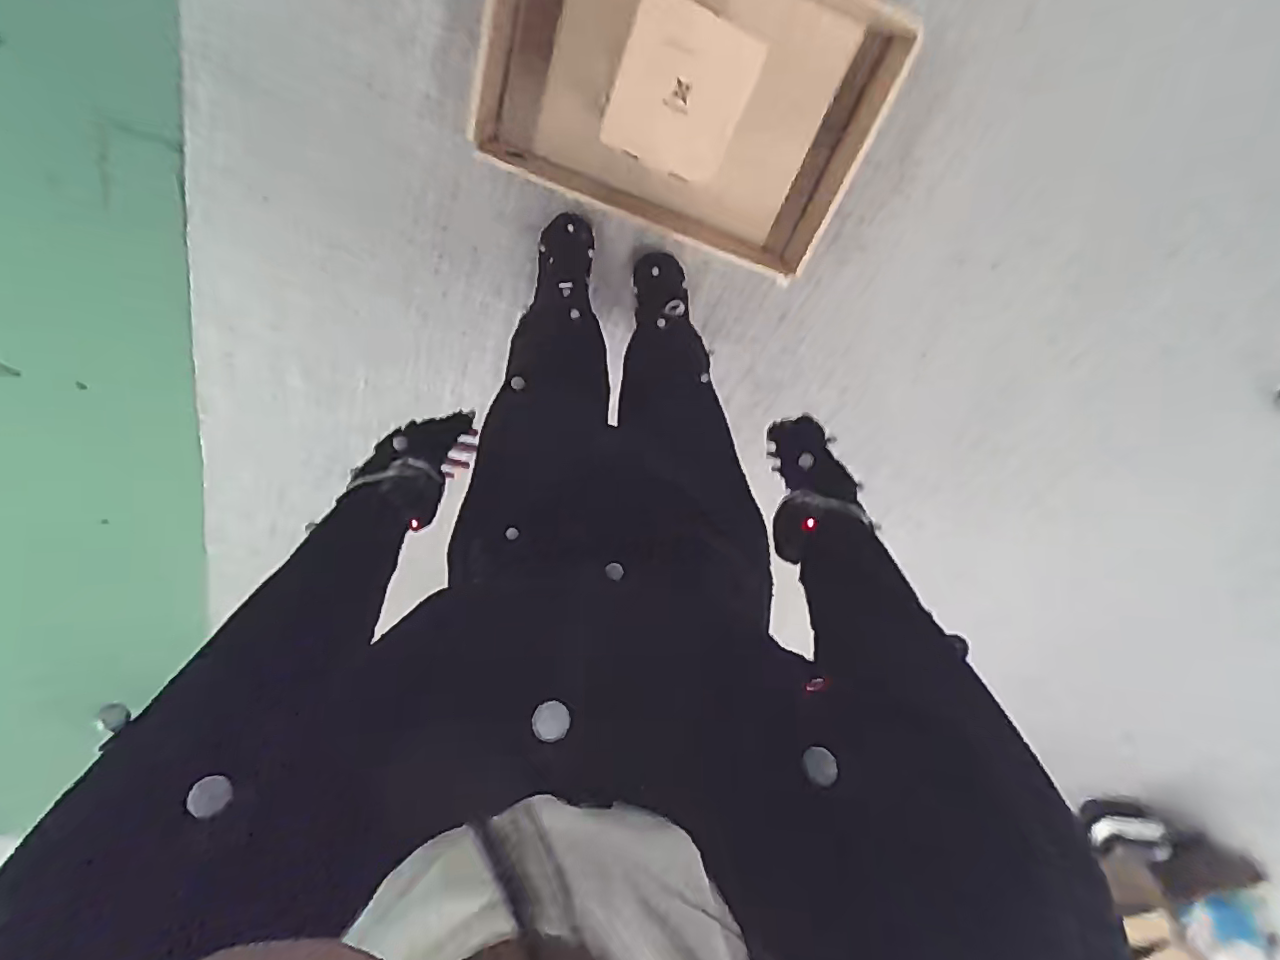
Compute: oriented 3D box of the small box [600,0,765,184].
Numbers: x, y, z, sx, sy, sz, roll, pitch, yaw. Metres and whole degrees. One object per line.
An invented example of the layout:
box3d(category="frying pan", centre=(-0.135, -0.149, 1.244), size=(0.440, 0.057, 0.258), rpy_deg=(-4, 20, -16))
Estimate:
box3d(category="small box", centre=(0.053, -0.541, 0.743), size=(0.168, 0.176, 0.179), rpy_deg=(15, 127, -9))
